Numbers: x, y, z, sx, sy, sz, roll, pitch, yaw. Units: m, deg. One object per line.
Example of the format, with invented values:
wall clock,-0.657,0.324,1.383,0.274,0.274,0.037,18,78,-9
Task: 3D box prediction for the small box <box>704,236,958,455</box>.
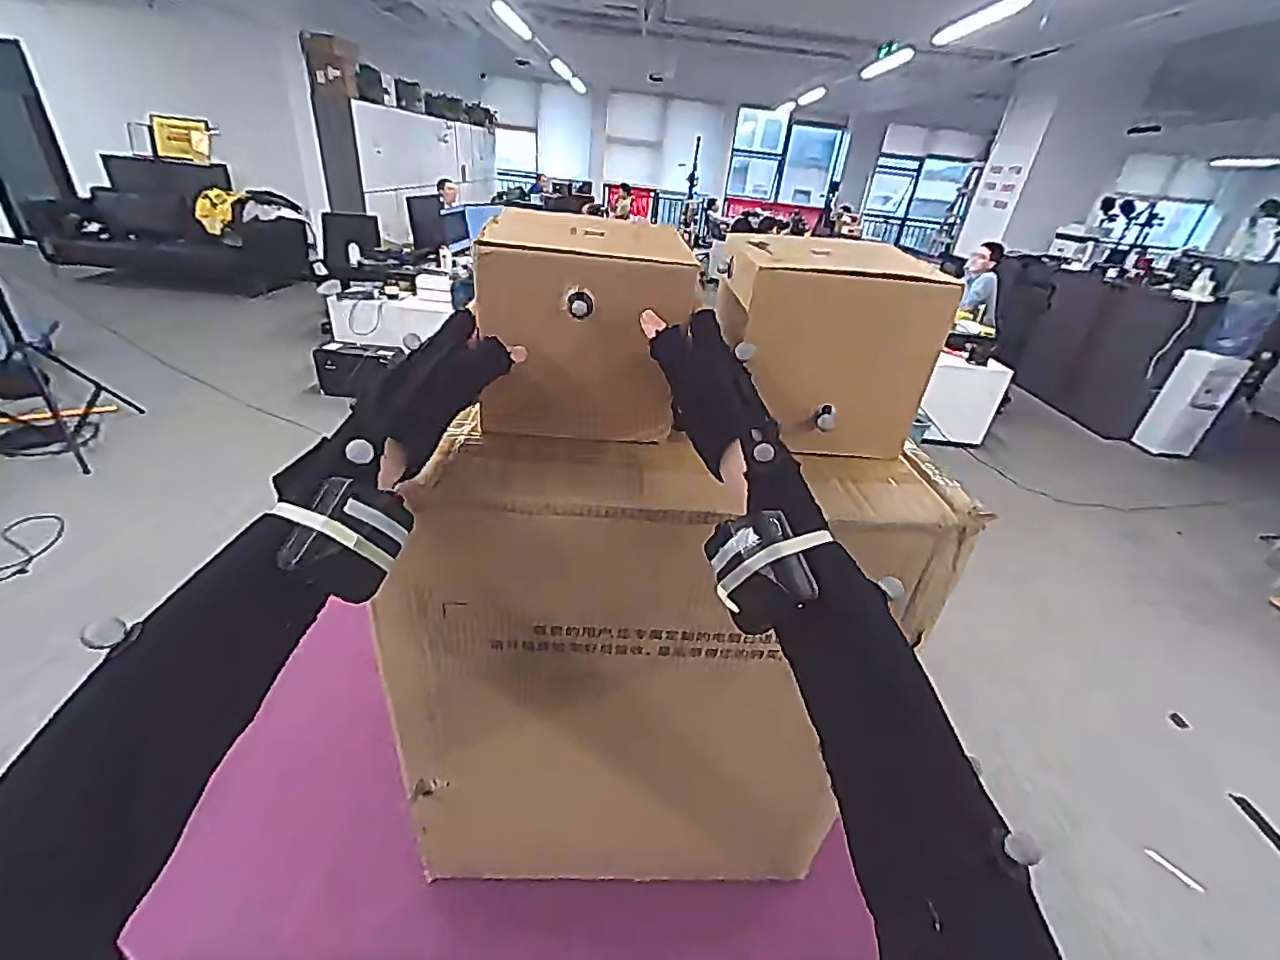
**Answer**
small box,0.170,-0.137,0.549,0.179,0.176,0.168,4,31,-3
